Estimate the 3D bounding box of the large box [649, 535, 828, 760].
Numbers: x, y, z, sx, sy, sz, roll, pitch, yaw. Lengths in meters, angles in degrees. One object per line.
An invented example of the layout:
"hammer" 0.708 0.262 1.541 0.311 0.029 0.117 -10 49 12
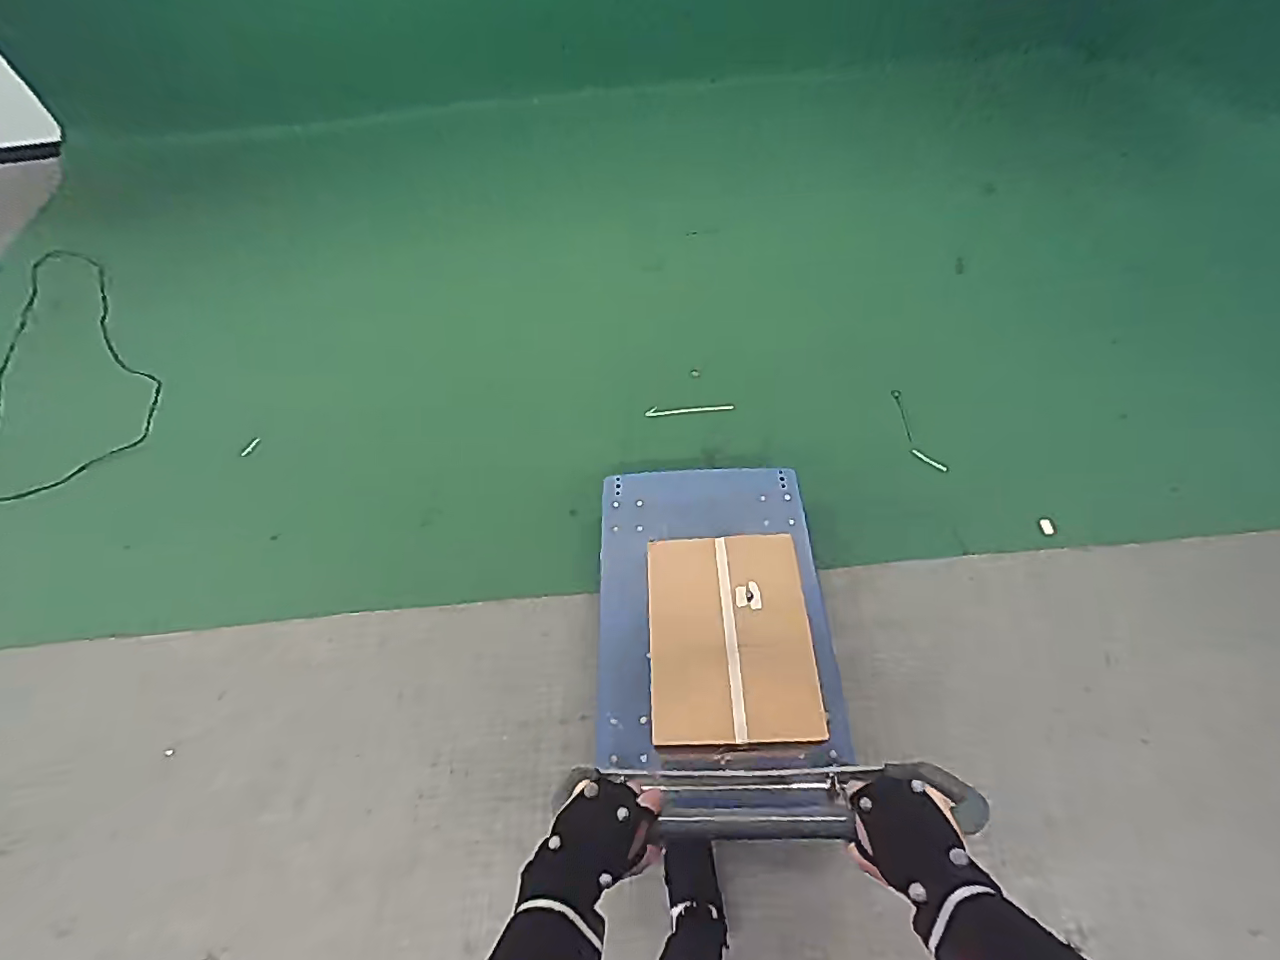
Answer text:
"large box" 0.191 0.375 1.190 0.320 0.320 0.408 -3 57 3
